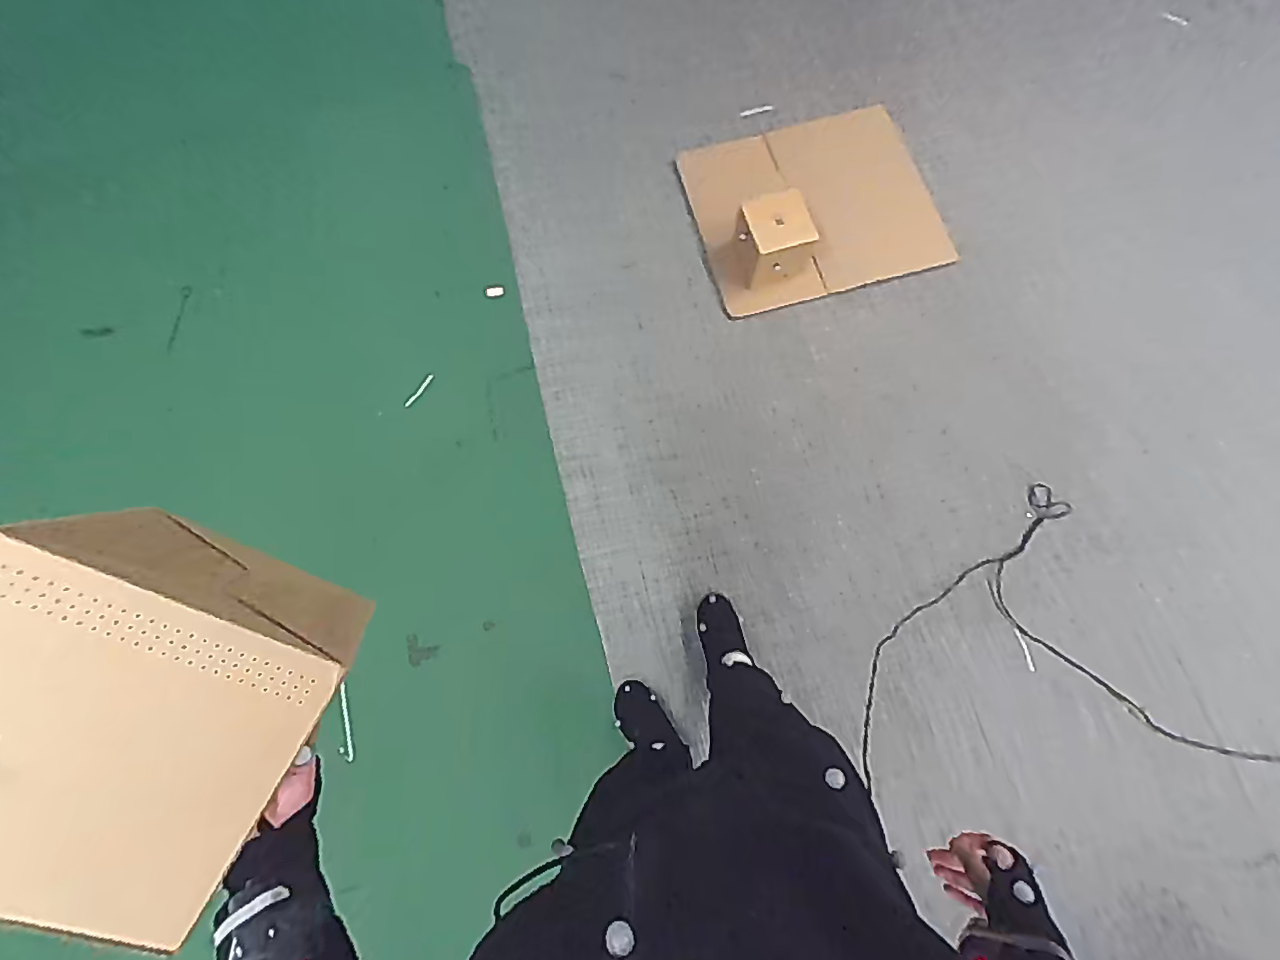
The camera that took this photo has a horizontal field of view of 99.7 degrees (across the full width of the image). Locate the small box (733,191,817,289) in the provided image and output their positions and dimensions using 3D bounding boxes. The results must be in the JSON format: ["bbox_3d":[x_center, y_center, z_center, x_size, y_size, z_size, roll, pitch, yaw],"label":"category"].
[{"bbox_3d":[0.372,-0.664,1.520,0.168,0.176,0.179,-17,74,-2],"label":"small box"}]
